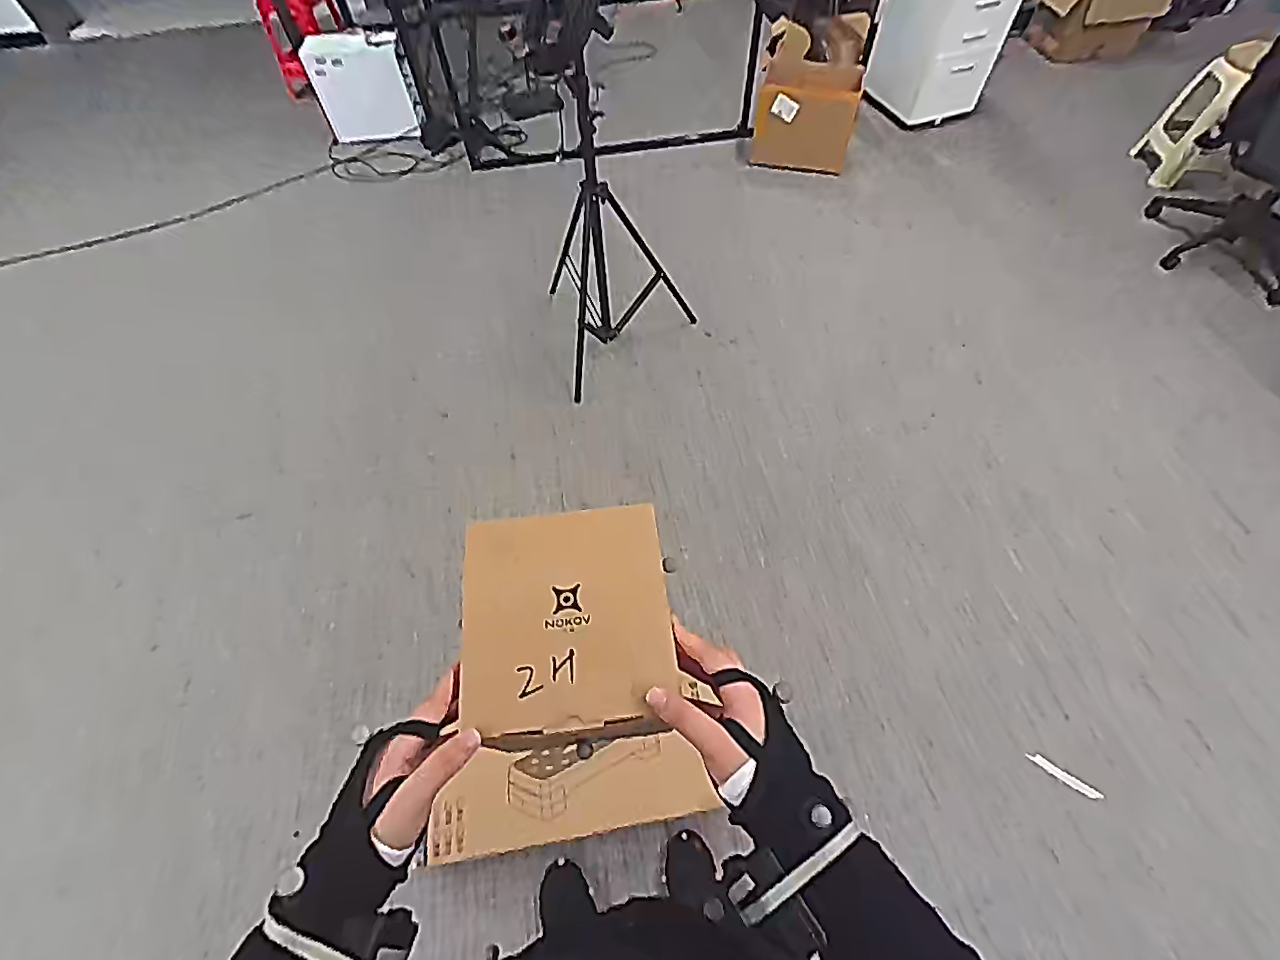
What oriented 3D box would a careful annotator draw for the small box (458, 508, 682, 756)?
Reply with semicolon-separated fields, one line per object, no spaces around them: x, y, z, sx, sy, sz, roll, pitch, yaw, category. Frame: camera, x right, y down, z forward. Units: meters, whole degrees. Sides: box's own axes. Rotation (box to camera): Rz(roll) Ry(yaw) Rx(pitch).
-0.059;0.146;0.502;0.168;0.176;0.179;-6;60;-3;small box
